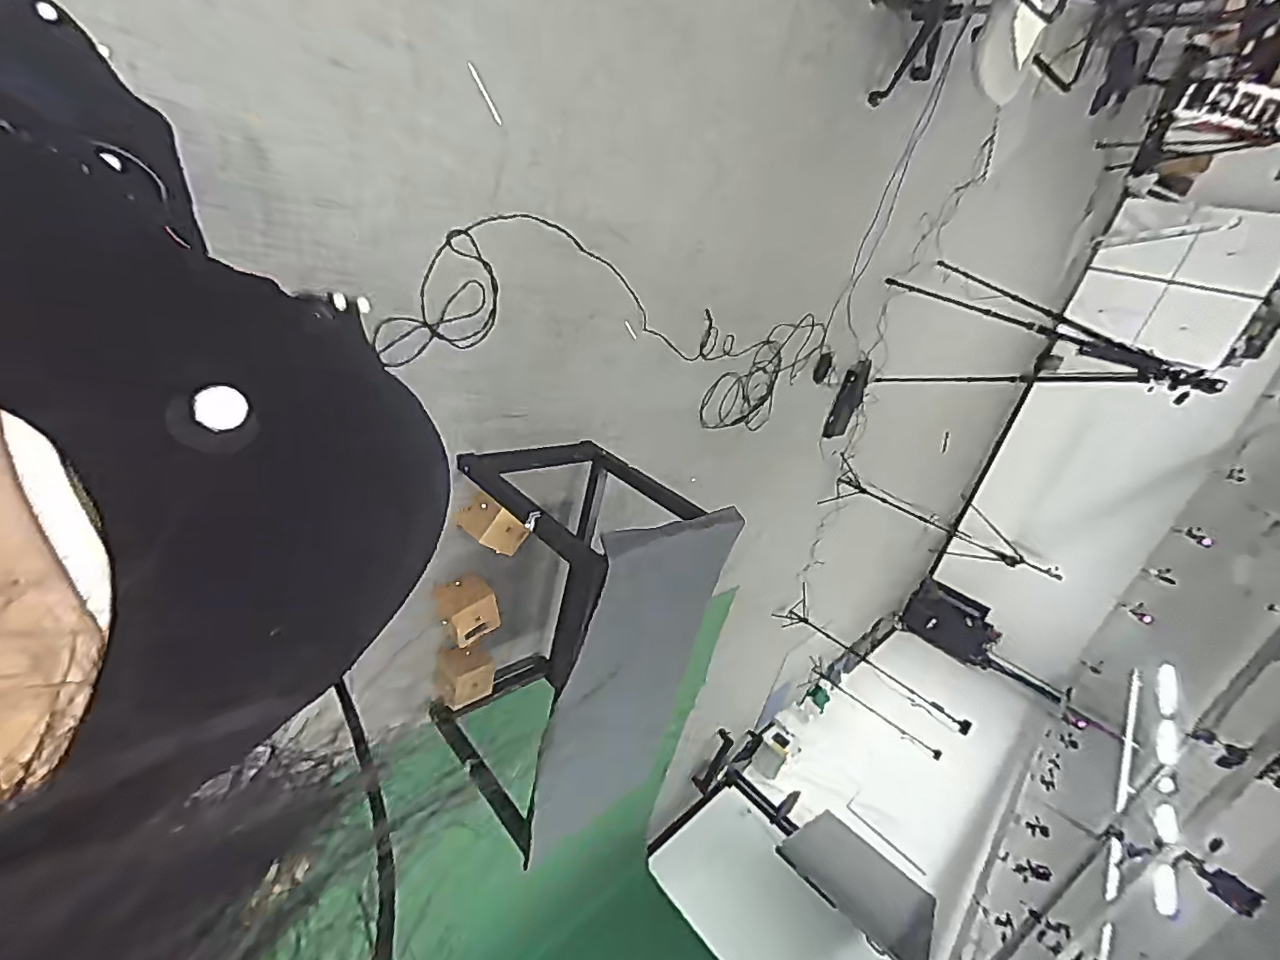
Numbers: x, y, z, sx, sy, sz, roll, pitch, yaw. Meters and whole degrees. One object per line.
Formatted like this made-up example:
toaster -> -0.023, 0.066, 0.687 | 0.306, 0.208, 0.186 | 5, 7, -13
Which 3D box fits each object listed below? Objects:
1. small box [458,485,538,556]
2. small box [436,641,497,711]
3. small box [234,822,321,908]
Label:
small box -> -0.504, 0.137, 1.901 | 0.168, 0.176, 0.179 | -56, 144, -4
small box -> -0.686, 0.759, 2.127 | 0.168, 0.176, 0.179 | -11, 124, -44
small box -> -1.254, 1.313, 1.864 | 0.179, 0.176, 0.168 | -55, 144, -6
